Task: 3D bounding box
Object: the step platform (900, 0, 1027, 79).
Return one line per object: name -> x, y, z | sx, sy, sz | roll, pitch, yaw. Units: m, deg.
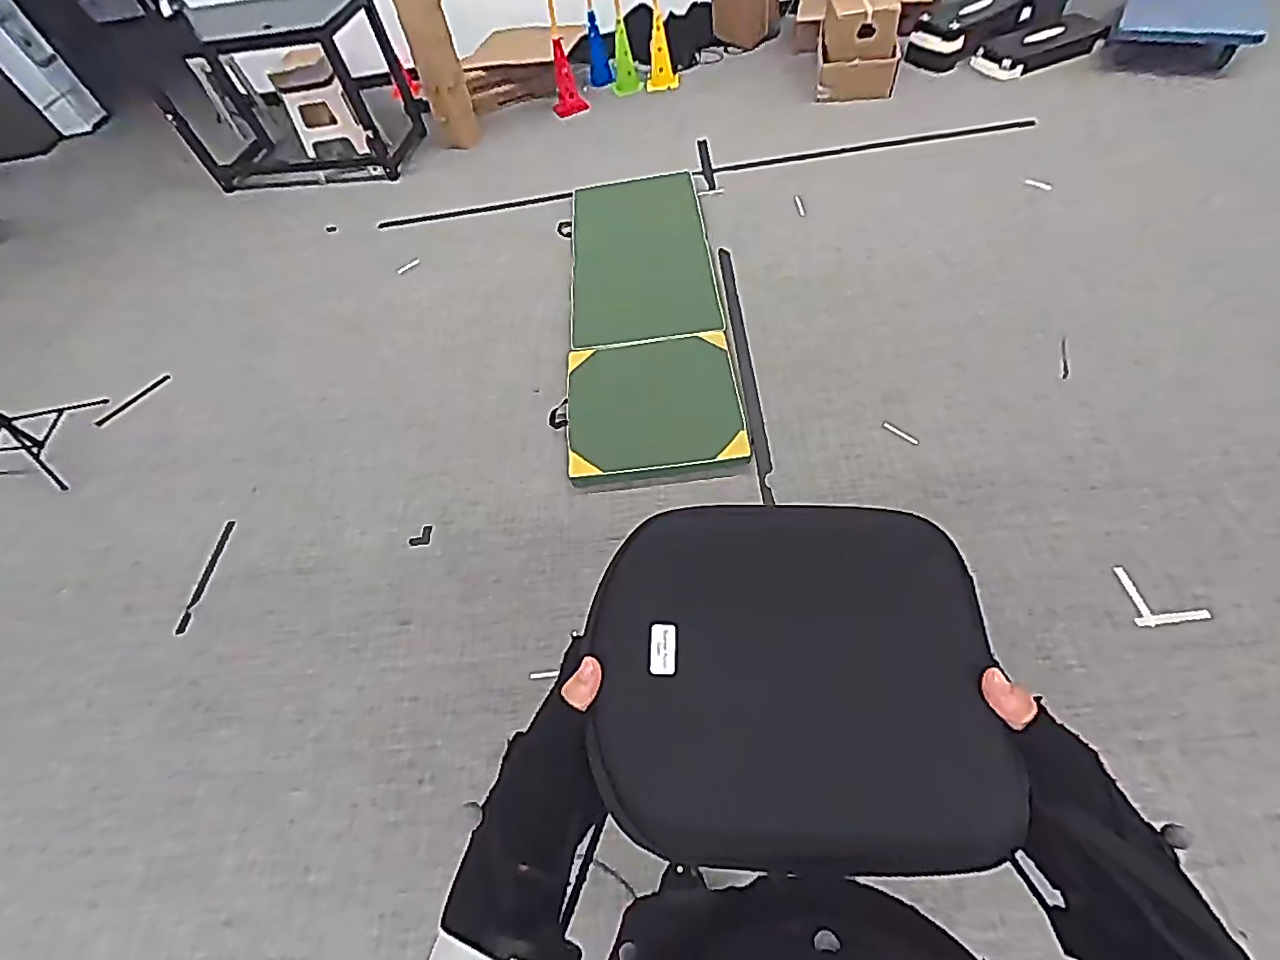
step platform -> 1.851, -2.551, 3.095 | 0.684, 0.204, 0.286 | -31, 58, -11
